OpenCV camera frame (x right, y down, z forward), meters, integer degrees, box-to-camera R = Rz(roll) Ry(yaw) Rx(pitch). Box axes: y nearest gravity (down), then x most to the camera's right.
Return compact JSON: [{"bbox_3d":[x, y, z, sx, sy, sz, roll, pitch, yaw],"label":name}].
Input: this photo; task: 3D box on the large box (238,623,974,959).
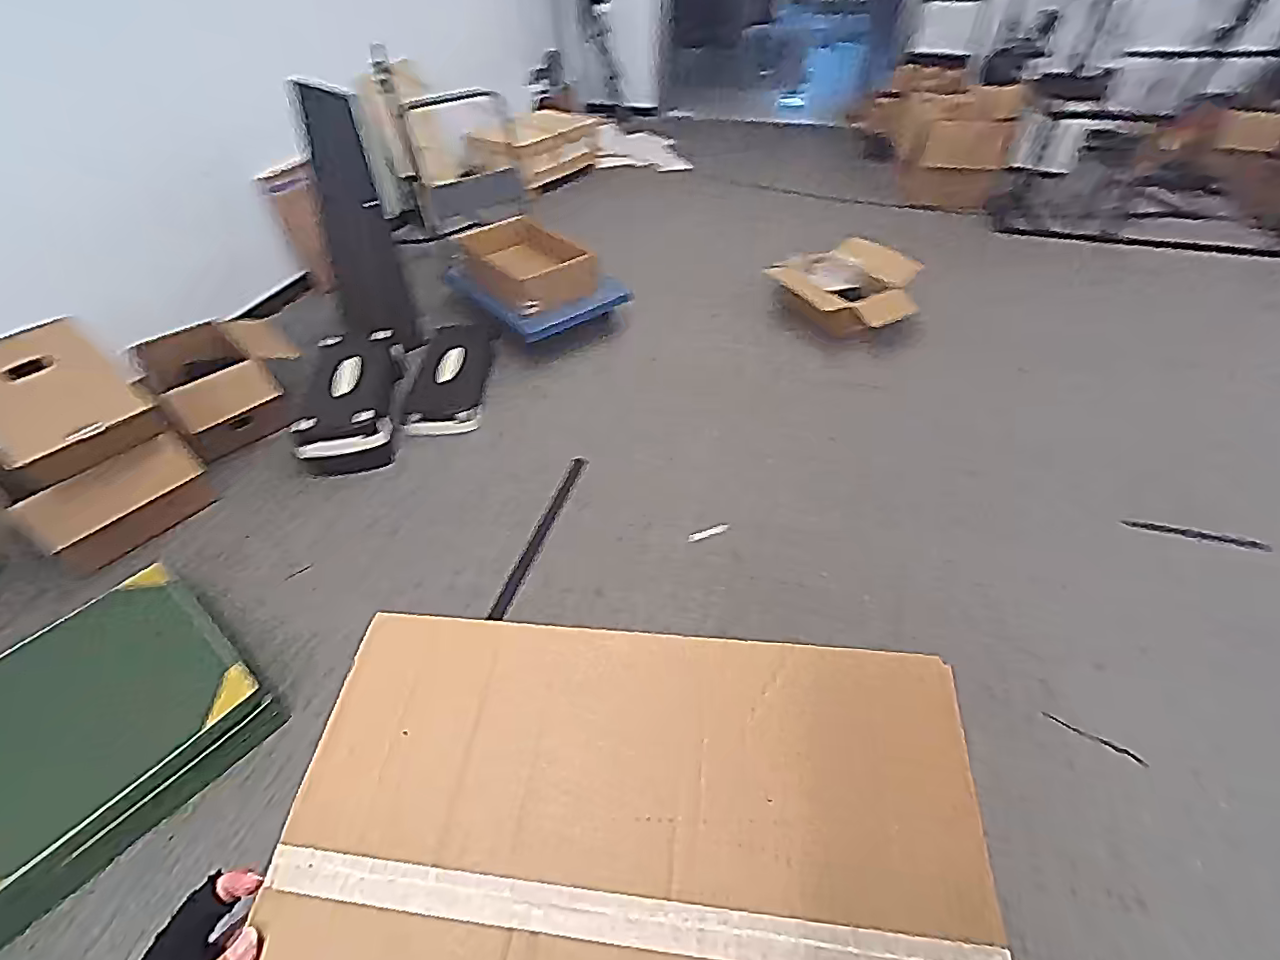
[{"bbox_3d":[-0.008,0.320,0.427,0.408,0.320,0.320,1,54,8],"label":"large box"}]
